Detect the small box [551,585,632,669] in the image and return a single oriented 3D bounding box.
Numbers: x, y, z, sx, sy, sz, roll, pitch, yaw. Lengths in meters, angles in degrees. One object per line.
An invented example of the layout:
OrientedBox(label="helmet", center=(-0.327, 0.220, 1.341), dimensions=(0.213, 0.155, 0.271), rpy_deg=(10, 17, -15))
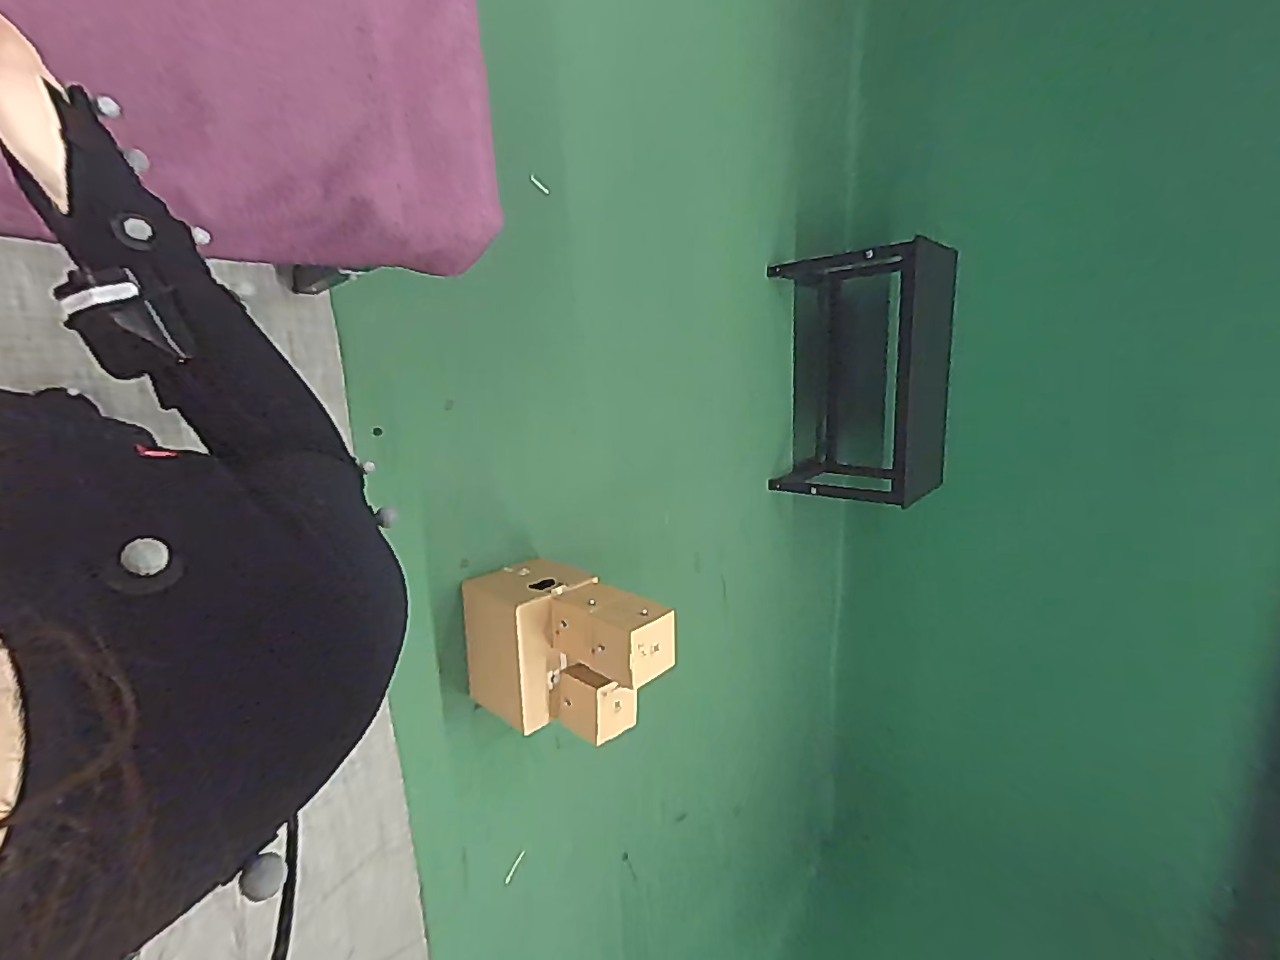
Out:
OrientedBox(label="small box", center=(-0.142, 0.423, 1.593), dimensions=(0.179, 0.176, 0.168), rpy_deg=(-11, 105, -46))

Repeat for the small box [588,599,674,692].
OrientedBox(label="small box", center=(-0.023, 0.443, 1.480), dimensions=(0.179, 0.176, 0.168), rpy_deg=(-13, 105, -45))

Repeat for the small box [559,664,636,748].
OrientedBox(label="small box", center=(-0.130, 0.667, 1.638), dimensions=(0.168, 0.176, 0.179), rpy_deg=(-4, 99, -47))

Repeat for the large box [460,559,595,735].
OrientedBox(label="large box", center=(-0.351, 0.509, 1.739), dimensions=(0.320, 0.320, 0.408), rpy_deg=(-11, 105, -45))
